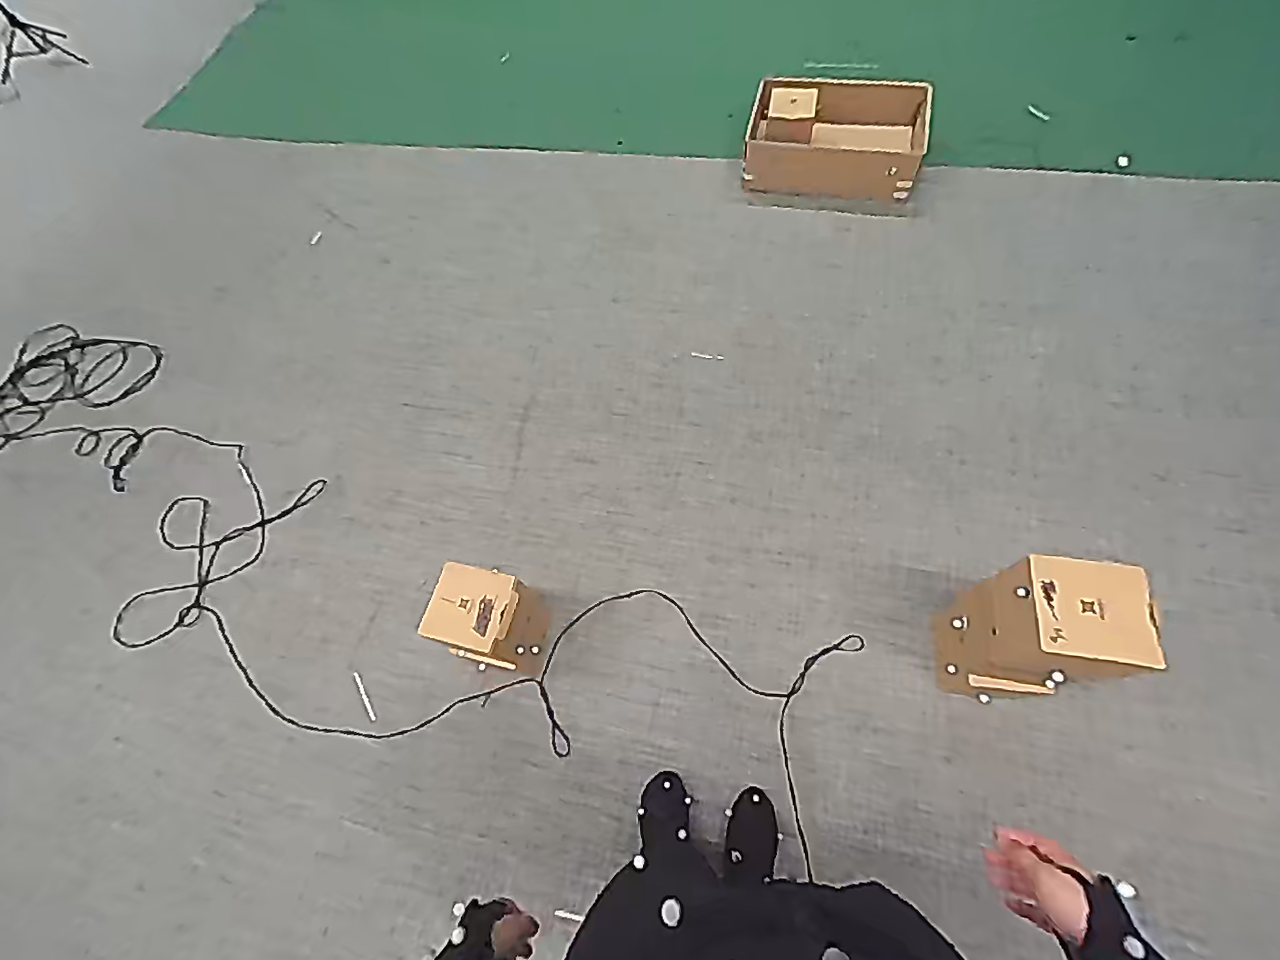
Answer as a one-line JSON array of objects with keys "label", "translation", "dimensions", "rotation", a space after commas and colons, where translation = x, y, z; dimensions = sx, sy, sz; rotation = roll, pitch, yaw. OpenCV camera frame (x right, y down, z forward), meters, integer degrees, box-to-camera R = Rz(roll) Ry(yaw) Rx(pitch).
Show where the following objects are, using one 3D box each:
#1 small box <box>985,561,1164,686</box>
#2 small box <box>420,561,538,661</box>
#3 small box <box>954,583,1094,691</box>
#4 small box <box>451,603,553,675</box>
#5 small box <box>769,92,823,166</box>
[{"label": "small box", "translation": [0.741, 0.256, 0.945], "dimensions": [0.179, 0.176, 0.168], "rotation": [8, 64, 9]}, {"label": "small box", "translation": [-0.351, 0.302, 1.221], "dimensions": [0.179, 0.176, 0.168], "rotation": [11, 65, 13]}, {"label": "small box", "translation": [0.765, 0.322, 1.093], "dimensions": [0.179, 0.176, 0.168], "rotation": [7, 64, 11]}, {"label": "small box", "translation": [-0.336, 0.385, 1.362], "dimensions": [0.179, 0.176, 0.168], "rotation": [10, 65, 12]}, {"label": "small box", "translation": [0.582, -1.319, 2.031], "dimensions": [0.168, 0.176, 0.179], "rotation": [8, 66, 10]}]
